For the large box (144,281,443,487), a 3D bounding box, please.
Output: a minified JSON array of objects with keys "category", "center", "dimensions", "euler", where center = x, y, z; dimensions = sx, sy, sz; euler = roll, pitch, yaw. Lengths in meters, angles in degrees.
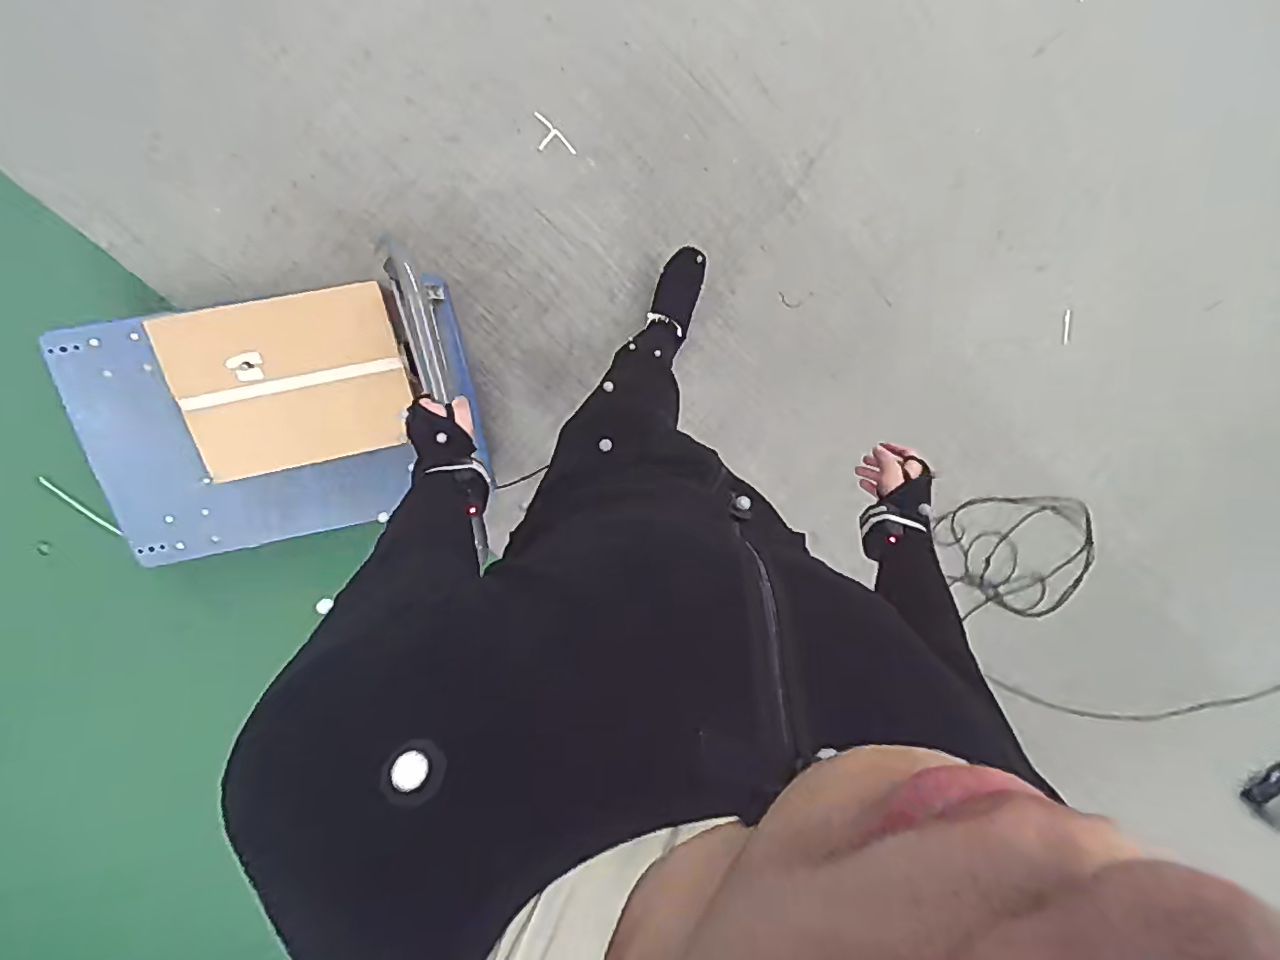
[{"category":"large box","center":[-0.685,-0.215,1.160],"dimensions":[0.408,0.320,0.320],"euler":[-14,105,-9]}]
